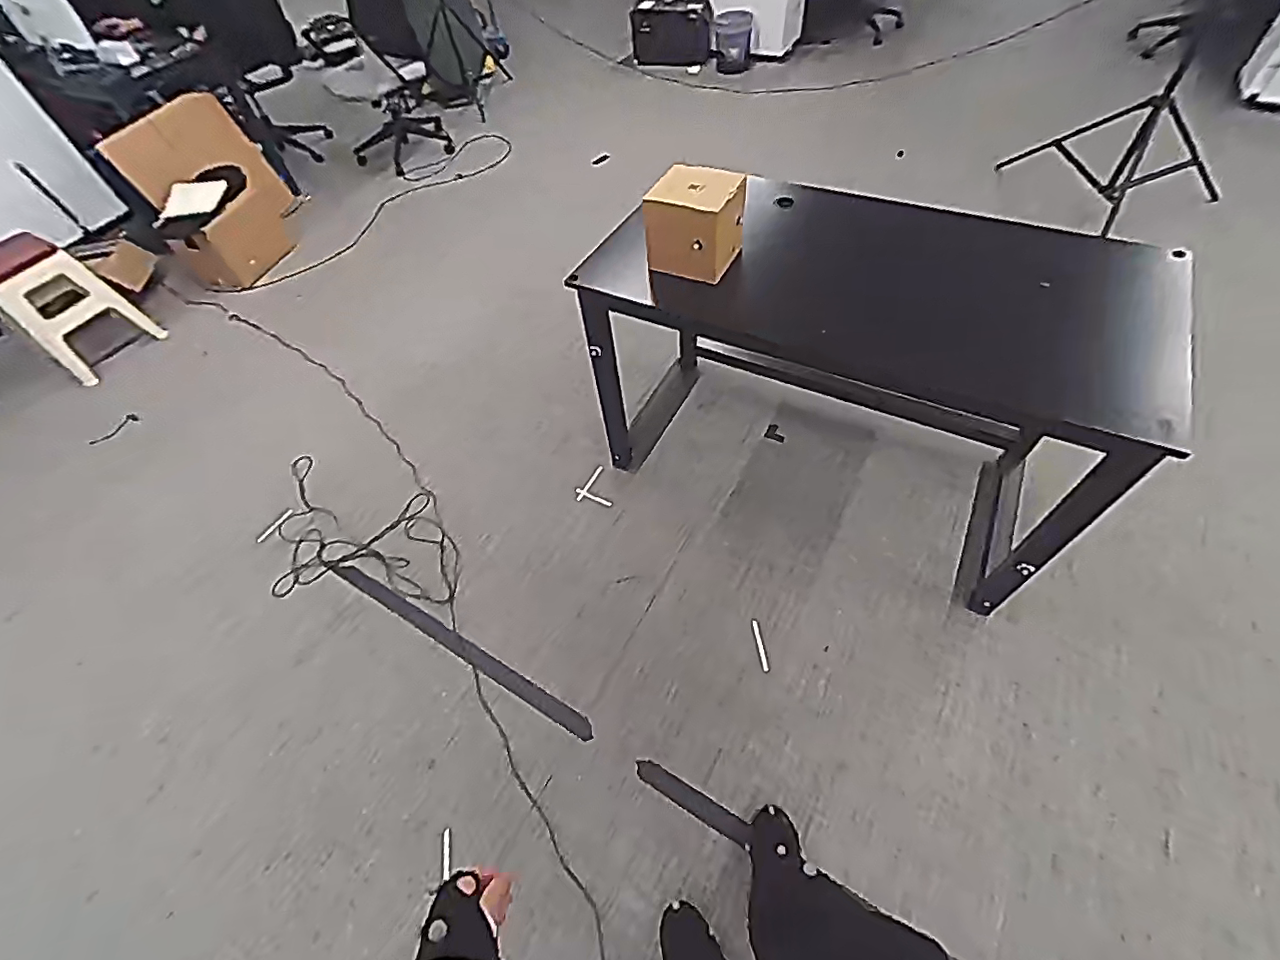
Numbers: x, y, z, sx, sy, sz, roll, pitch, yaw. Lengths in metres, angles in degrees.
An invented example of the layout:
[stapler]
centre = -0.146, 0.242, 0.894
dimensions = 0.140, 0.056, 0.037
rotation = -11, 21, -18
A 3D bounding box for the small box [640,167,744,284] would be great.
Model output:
[small box]
centre = 0.119, -0.567, 1.214
dimensions = 0.179, 0.176, 0.168
rotation = 20, 58, 19
